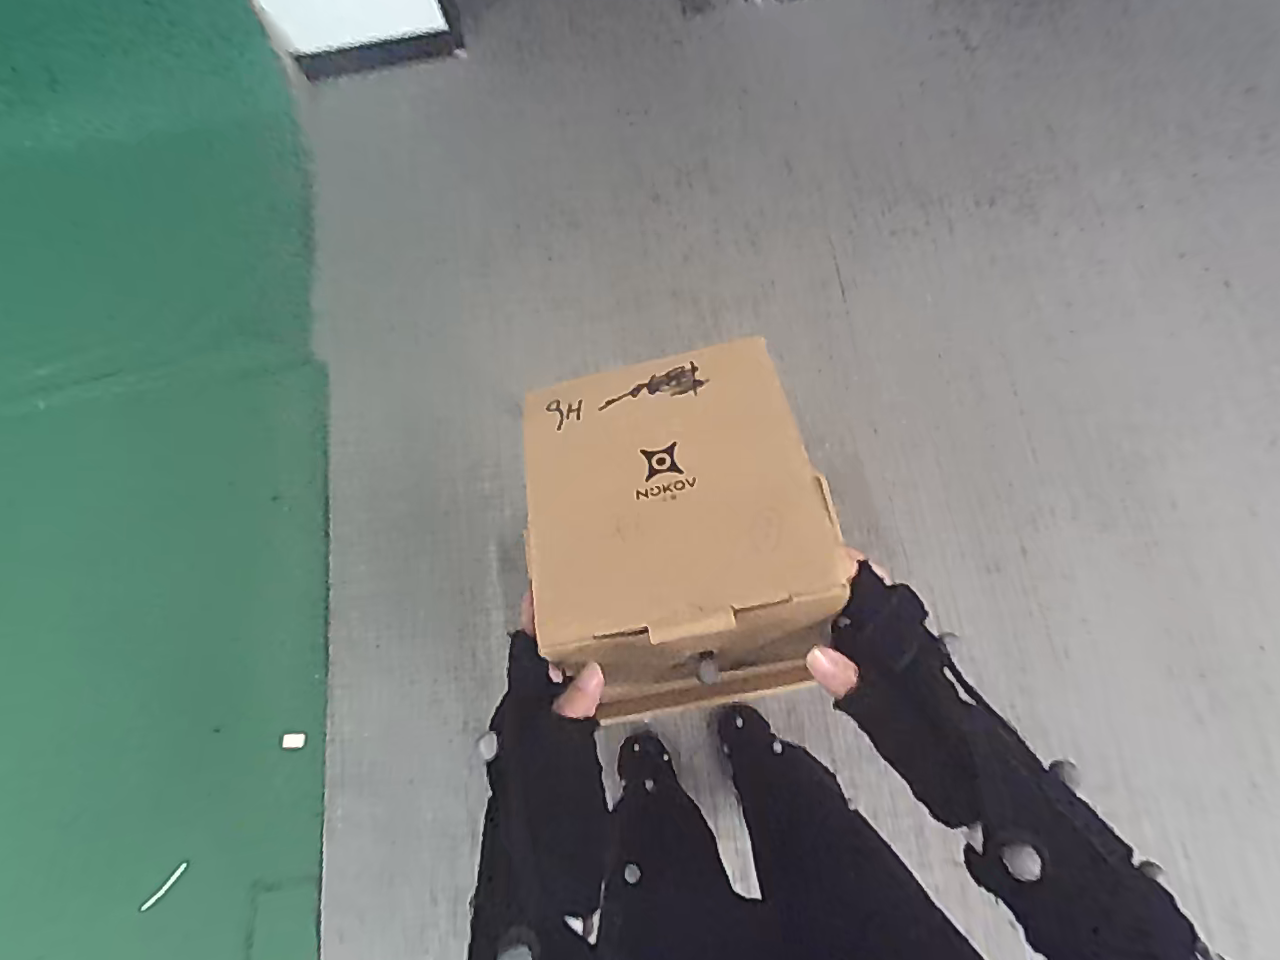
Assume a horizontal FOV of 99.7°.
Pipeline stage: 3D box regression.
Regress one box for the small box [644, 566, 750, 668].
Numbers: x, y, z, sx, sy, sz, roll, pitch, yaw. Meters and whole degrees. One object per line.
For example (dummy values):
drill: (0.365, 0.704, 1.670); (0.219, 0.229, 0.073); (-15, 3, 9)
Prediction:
small box: (0.108, 0.273, 1.092); (0.179, 0.176, 0.168); (-11, 76, 1)
